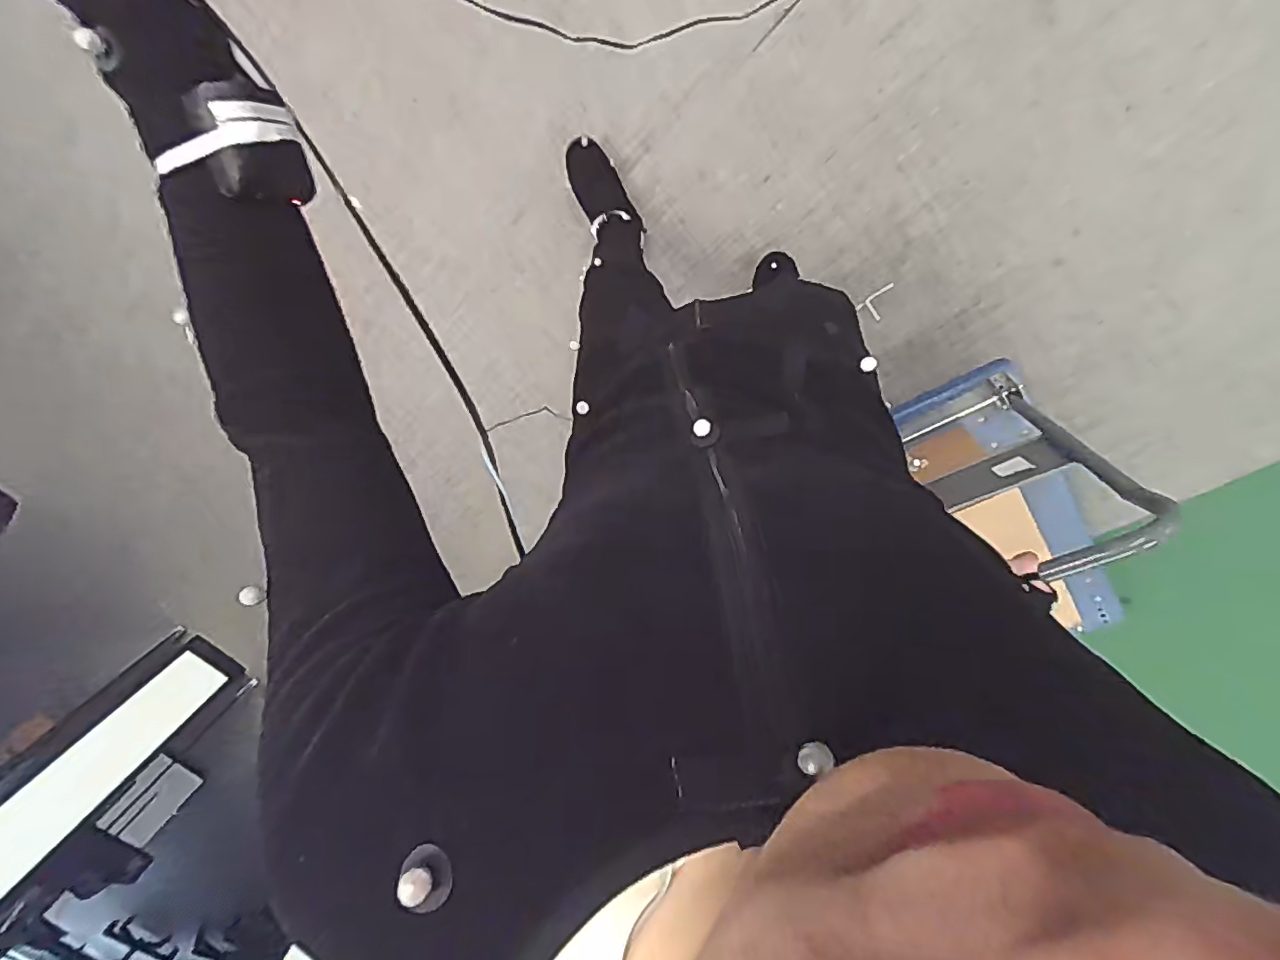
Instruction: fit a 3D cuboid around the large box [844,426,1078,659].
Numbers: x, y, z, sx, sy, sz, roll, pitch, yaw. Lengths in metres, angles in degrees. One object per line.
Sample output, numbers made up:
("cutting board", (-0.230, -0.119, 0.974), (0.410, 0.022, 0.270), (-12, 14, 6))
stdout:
("large box", (0.751, 0.148, 1.316), (0.320, 0.320, 0.408), (-29, 110, 24))
